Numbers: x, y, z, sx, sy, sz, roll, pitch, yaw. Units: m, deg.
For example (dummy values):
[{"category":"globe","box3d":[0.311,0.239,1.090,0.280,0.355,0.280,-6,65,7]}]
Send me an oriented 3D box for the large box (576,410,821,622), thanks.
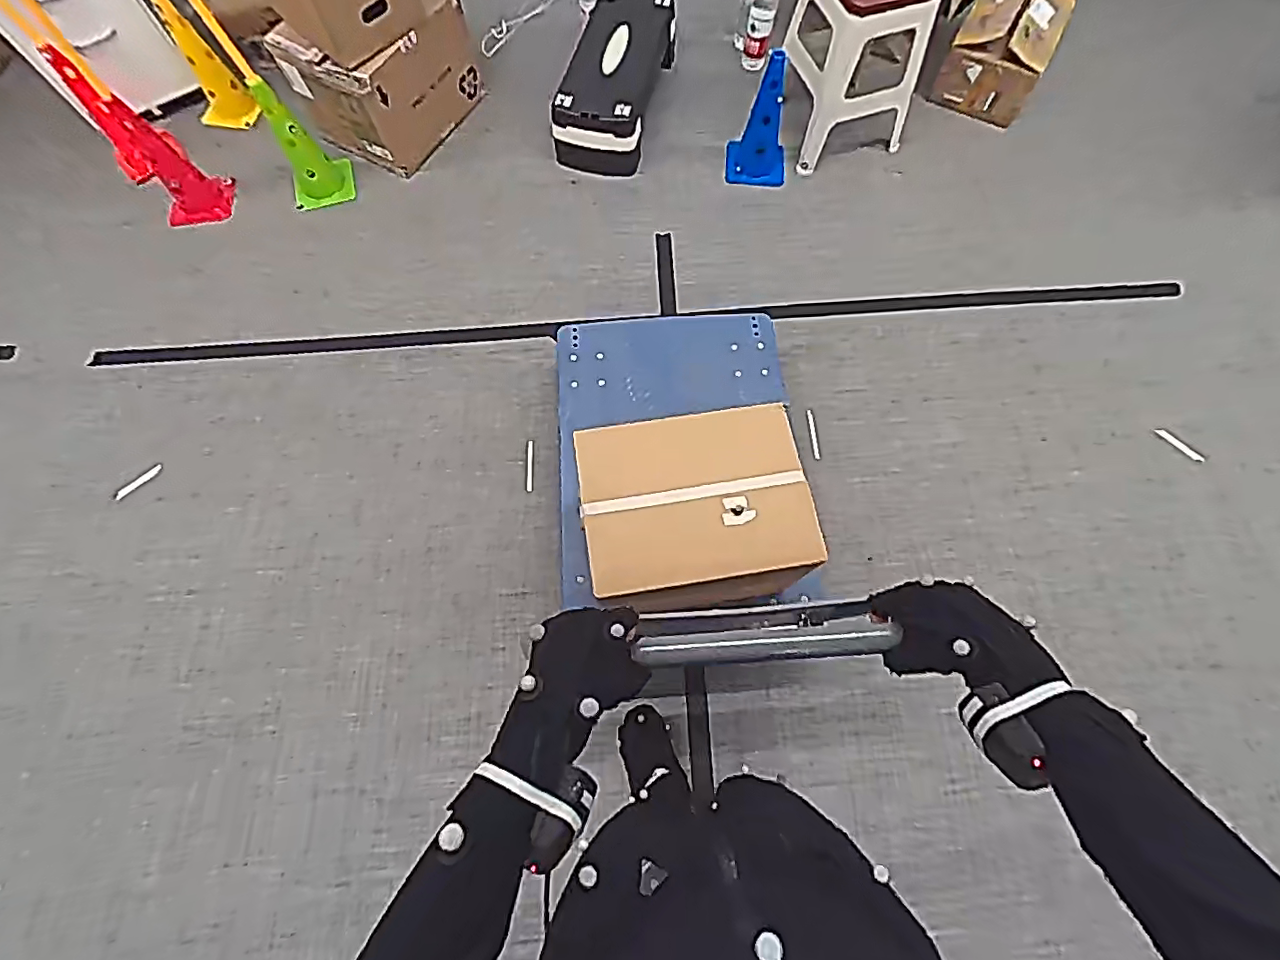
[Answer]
[{"category":"large box","box3d":[0.095,0.090,1.120,0.408,0.320,0.320,-9,70,-4]}]
